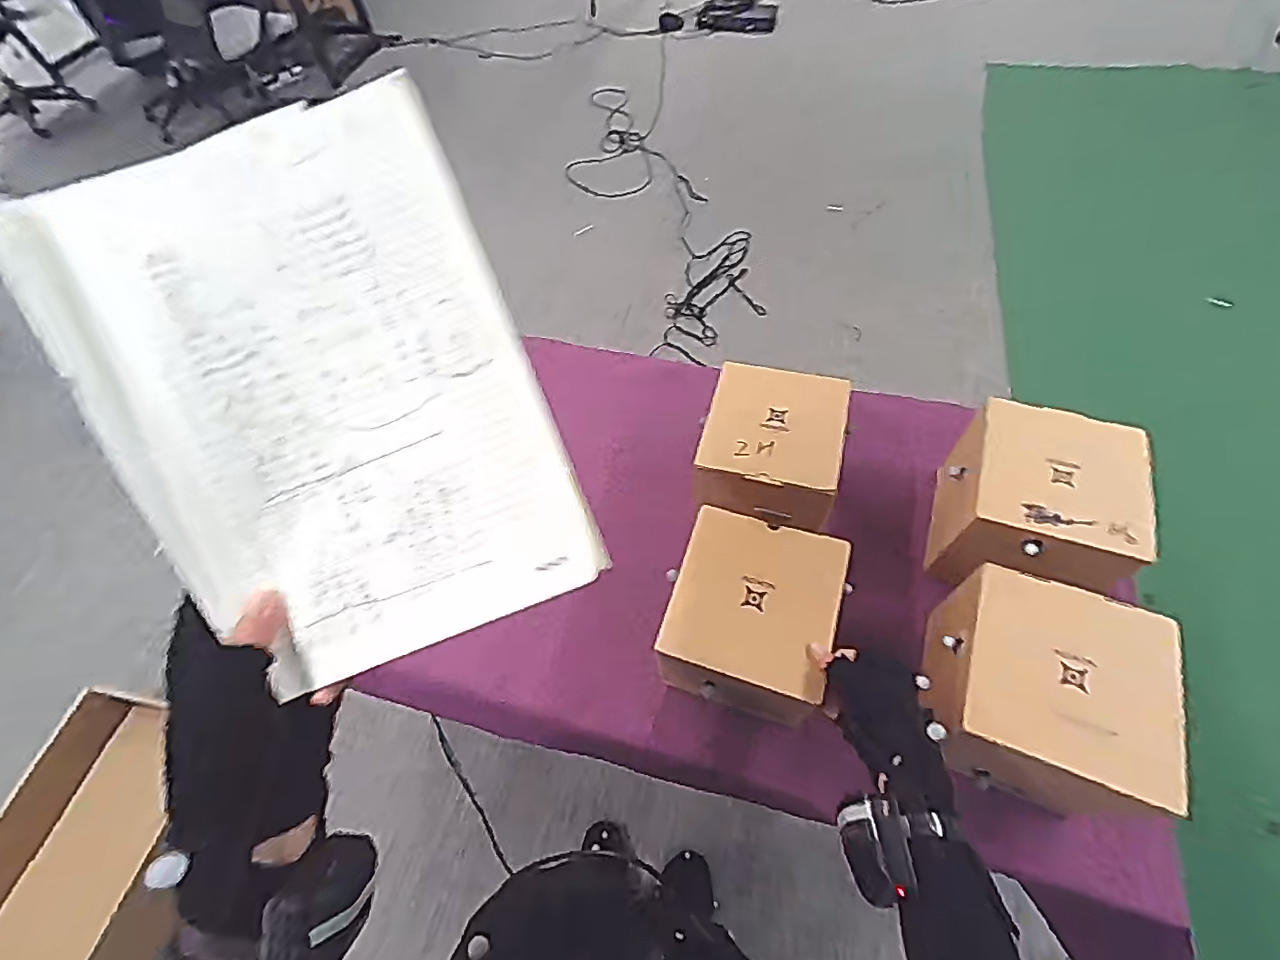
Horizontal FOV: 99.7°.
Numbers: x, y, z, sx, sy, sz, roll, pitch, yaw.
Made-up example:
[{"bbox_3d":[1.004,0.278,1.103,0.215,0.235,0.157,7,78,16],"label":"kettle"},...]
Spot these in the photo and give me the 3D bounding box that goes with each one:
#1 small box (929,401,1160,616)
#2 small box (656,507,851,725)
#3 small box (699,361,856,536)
[{"bbox_3d":[0.475,0.039,0.660,0.168,0.176,0.179,17,62,16],"label":"small box"},{"bbox_3d":[0.127,0.162,0.621,0.168,0.176,0.179,15,61,14],"label":"small box"},{"bbox_3d":[0.177,-0.029,0.730,0.168,0.176,0.179,13,61,13],"label":"small box"}]
